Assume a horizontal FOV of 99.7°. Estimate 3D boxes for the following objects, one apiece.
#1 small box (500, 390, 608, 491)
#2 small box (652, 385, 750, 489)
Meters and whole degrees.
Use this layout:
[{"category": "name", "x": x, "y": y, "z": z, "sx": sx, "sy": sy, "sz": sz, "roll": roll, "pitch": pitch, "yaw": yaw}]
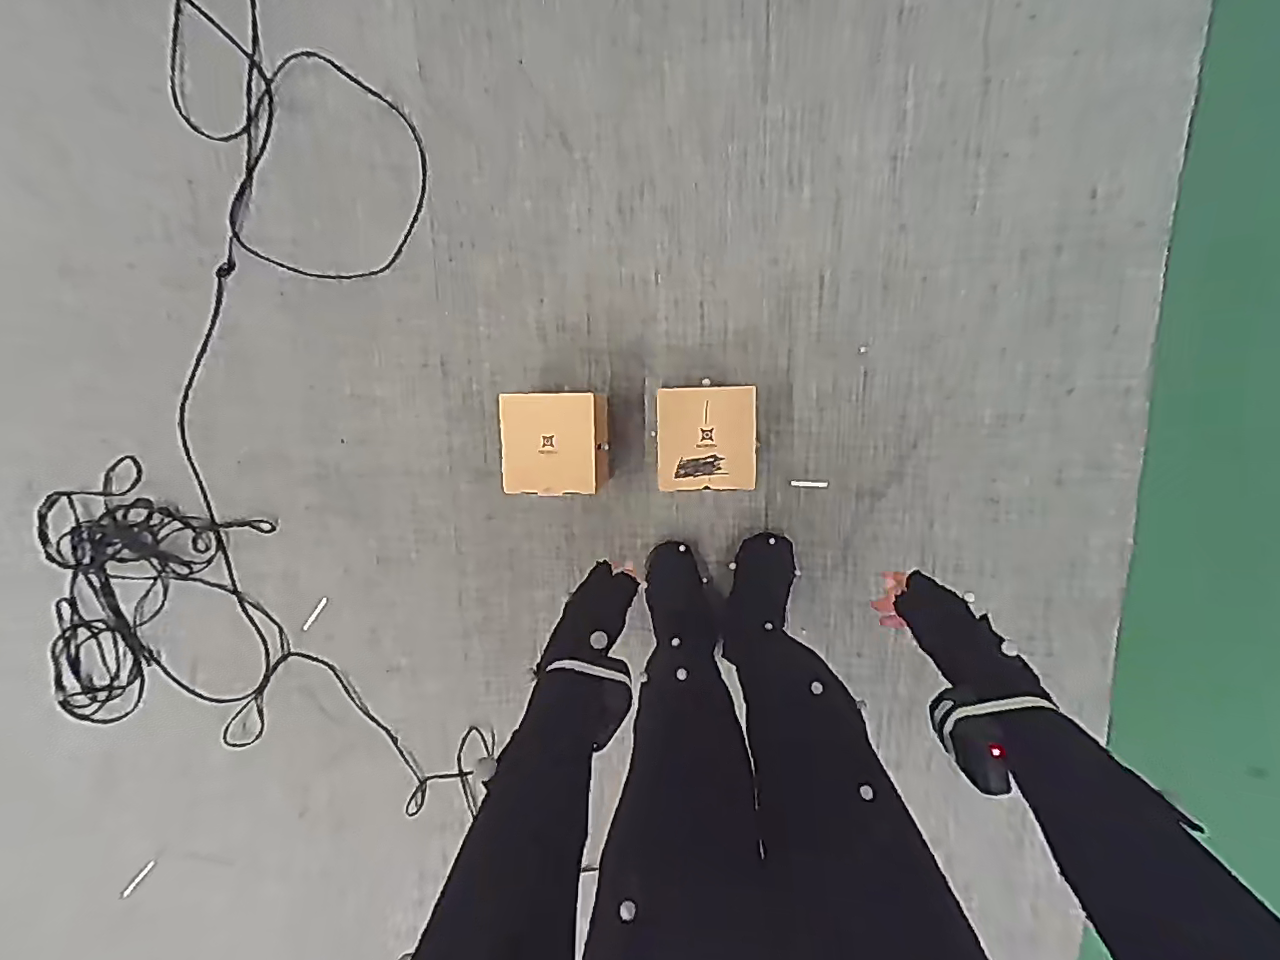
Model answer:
[{"category": "small box", "x": -0.155, "y": -0.078, "z": 1.016, "sx": 0.168, "sy": 0.176, "sz": 0.179, "roll": 0, "pitch": 99, "yaw": 5}, {"category": "small box", "x": 0.111, "y": -0.084, "z": 0.990, "sx": 0.168, "sy": 0.176, "sz": 0.179, "roll": -1, "pitch": 98, "yaw": 5}]
